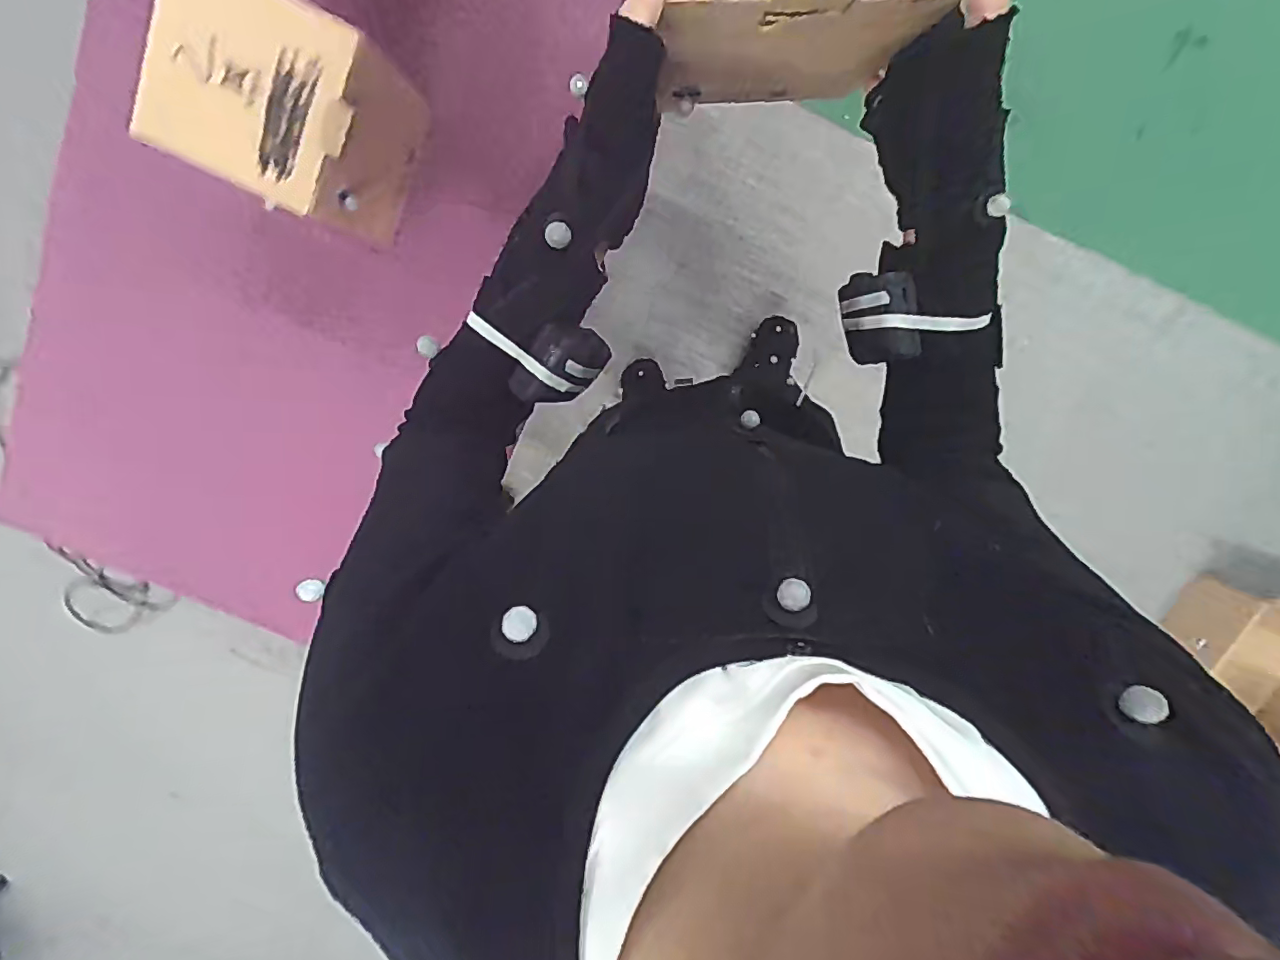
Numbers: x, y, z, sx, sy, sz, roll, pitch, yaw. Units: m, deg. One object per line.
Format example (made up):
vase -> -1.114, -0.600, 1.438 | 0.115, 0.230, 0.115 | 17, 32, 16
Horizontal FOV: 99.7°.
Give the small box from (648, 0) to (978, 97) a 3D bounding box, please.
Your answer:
small box -> 0.092, -0.350, 0.320 | 0.168, 0.176, 0.179 | -2, 110, -2
